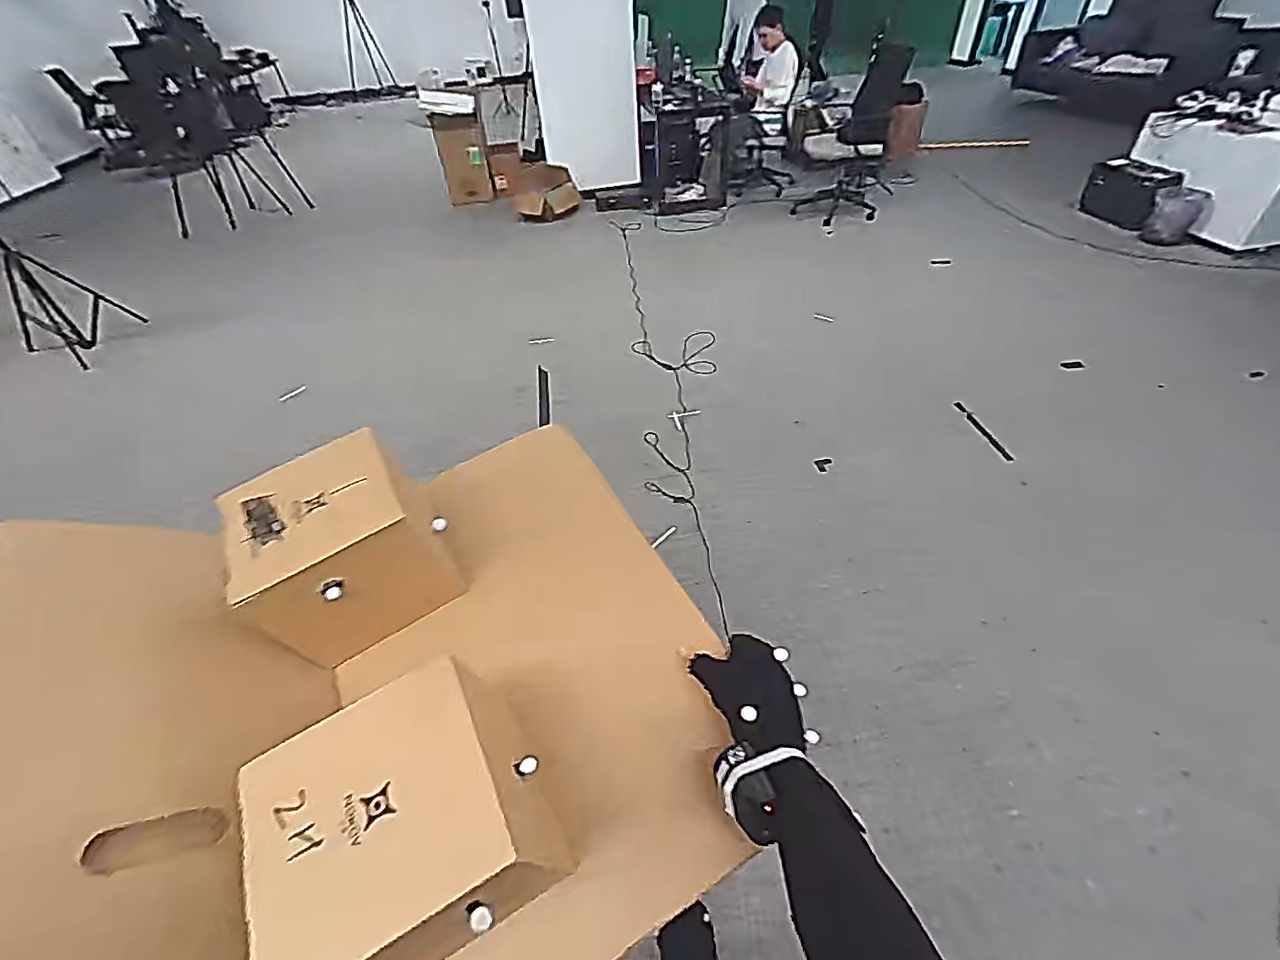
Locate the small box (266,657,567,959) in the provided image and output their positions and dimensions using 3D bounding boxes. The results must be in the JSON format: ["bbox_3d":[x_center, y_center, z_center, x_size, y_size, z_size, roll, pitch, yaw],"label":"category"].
[{"bbox_3d":[-0.175,0.288,0.462,0.179,0.176,0.168,-27,52,-10],"label":"small box"}]
